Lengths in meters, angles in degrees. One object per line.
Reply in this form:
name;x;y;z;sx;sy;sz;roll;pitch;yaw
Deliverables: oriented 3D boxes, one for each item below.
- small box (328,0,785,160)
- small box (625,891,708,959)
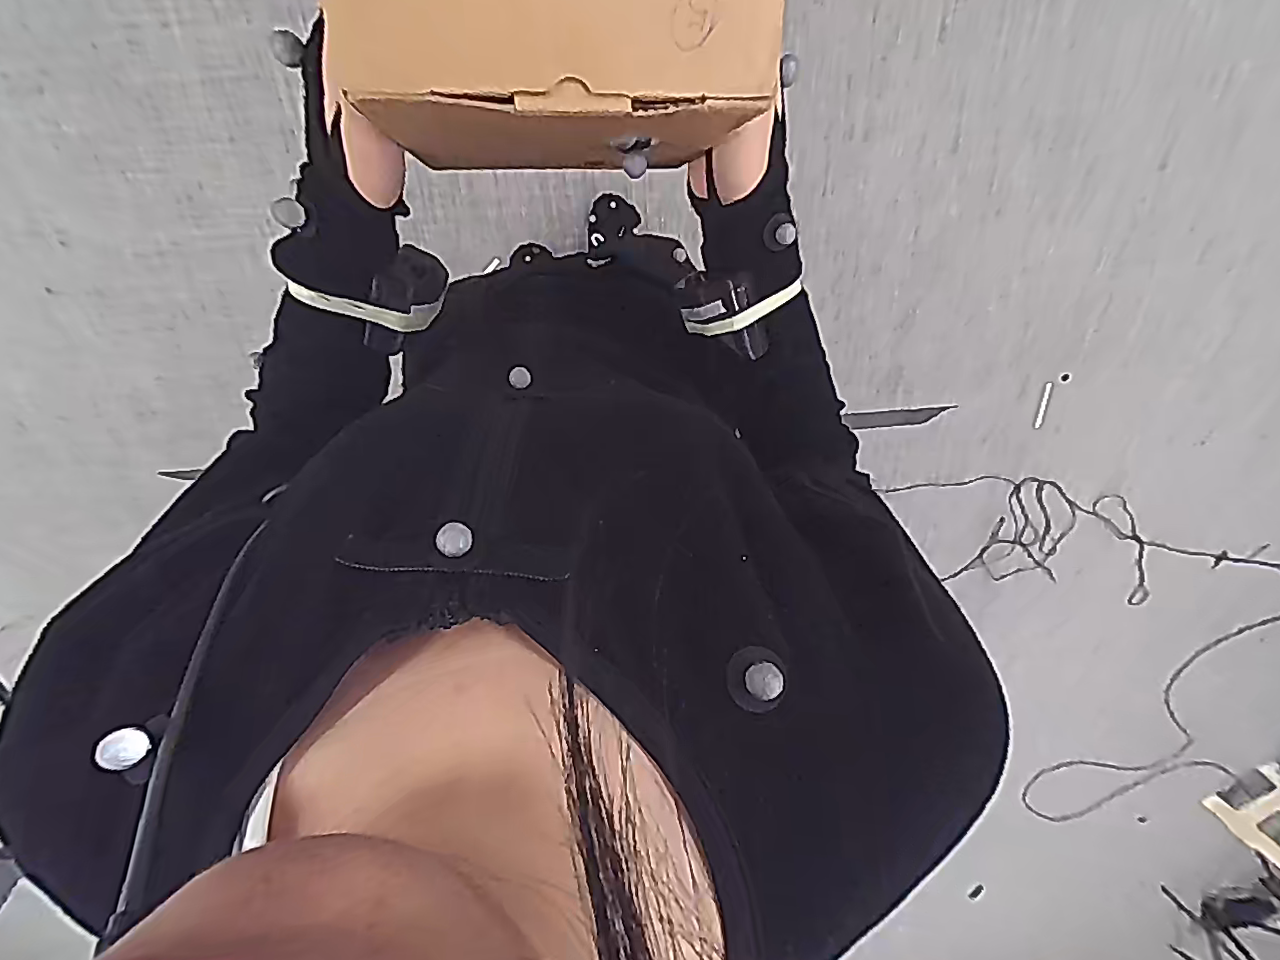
small box;-0.041;-0.254;0.243;0.168;0.176;0.179;-6;112;-9
small box;0.056;1.042;1.191;0.168;0.176;0.179;-4;116;-3
